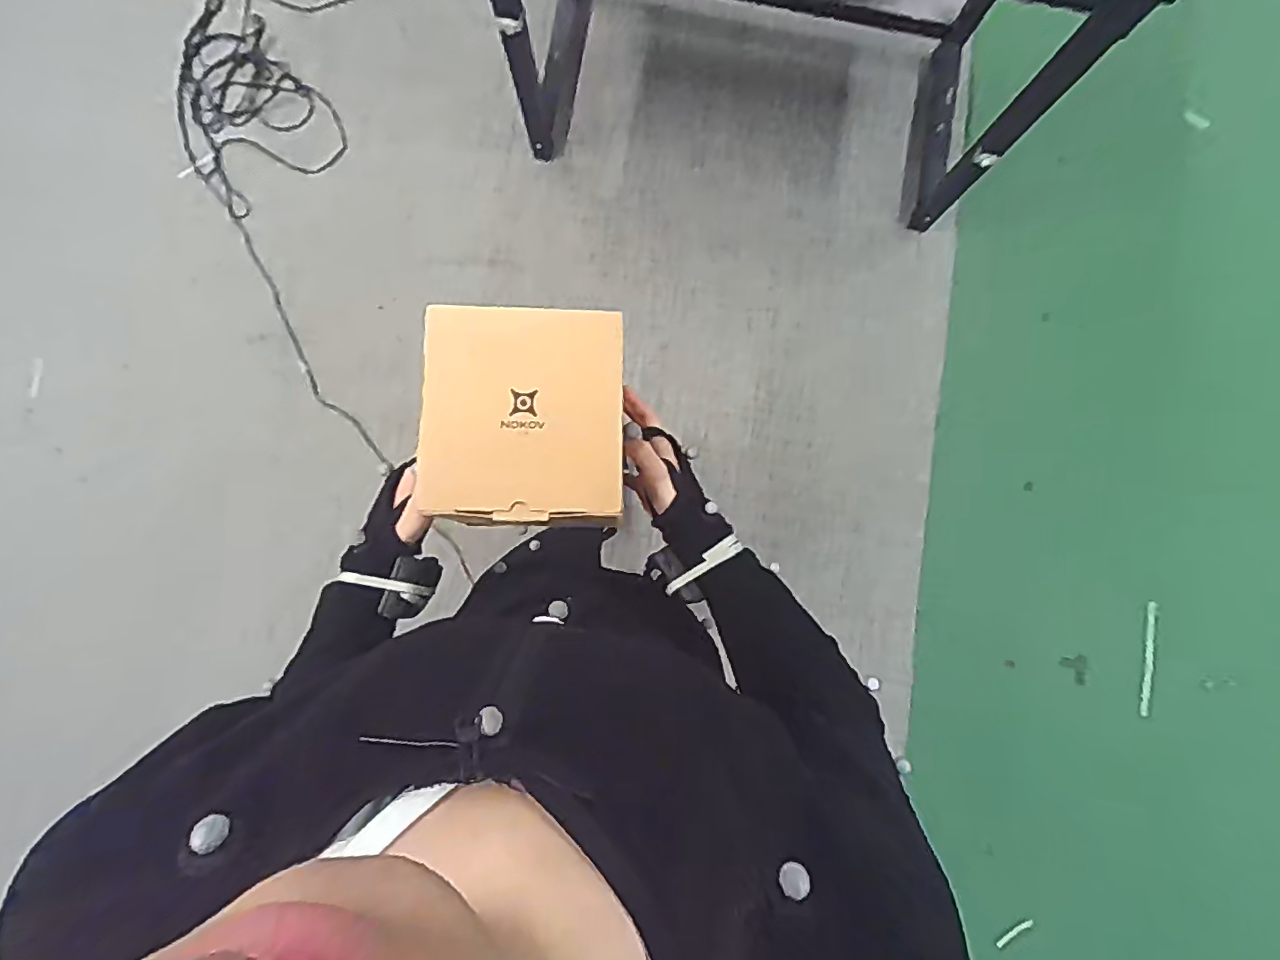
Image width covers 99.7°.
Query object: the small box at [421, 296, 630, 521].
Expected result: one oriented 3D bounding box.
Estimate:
[{"bbox_3d":[-0.097,-0.054,0.519,0.168,0.176,0.179,0,83,-5],"label":"small box"}]
